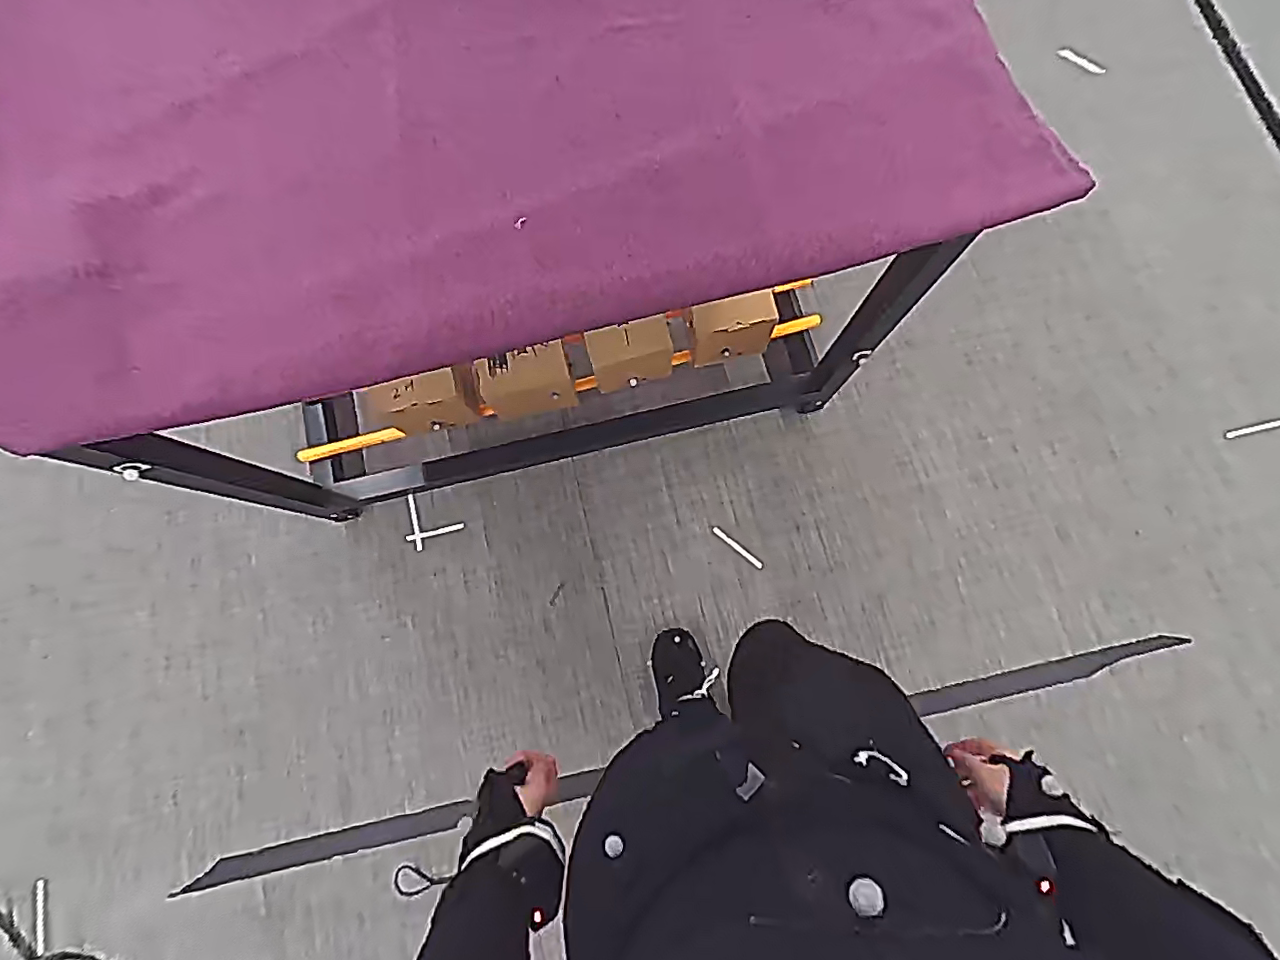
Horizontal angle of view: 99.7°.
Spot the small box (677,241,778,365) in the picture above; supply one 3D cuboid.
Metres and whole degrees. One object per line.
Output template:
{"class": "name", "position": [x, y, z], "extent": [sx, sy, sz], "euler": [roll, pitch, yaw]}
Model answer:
{"class": "small box", "position": [0.176, -0.368, 1.147], "extent": [0.168, 0.176, 0.179], "euler": [-12, 80, 0]}

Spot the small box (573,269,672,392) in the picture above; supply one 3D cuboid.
{"class": "small box", "position": [-0.036, -0.308, 1.142], "extent": [0.168, 0.176, 0.179], "euler": [-15, 82, -1]}

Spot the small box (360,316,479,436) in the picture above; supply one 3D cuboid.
{"class": "small box", "position": [-0.451, -0.209, 1.125], "extent": [0.168, 0.176, 0.179], "euler": [-13, 81, -2]}
